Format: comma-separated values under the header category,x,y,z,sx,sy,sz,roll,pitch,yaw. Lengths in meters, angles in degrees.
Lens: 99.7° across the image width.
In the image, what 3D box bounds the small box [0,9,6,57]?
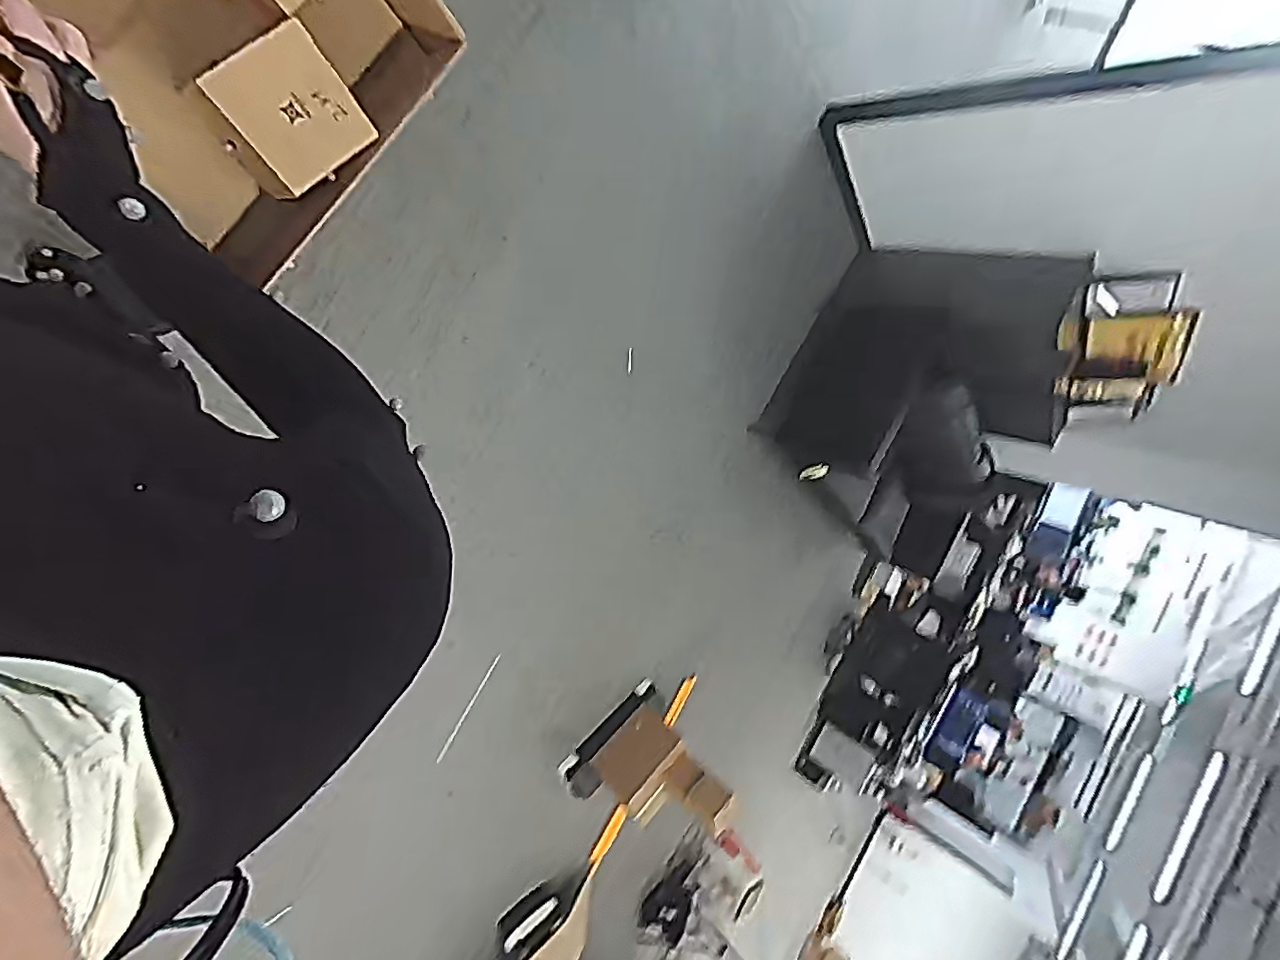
category,x,y,z,sx,sy,sz,roll,pitch,yaw
small box,-0.537,-0.379,0.333,0.168,0.176,0.179,-6,130,-42
